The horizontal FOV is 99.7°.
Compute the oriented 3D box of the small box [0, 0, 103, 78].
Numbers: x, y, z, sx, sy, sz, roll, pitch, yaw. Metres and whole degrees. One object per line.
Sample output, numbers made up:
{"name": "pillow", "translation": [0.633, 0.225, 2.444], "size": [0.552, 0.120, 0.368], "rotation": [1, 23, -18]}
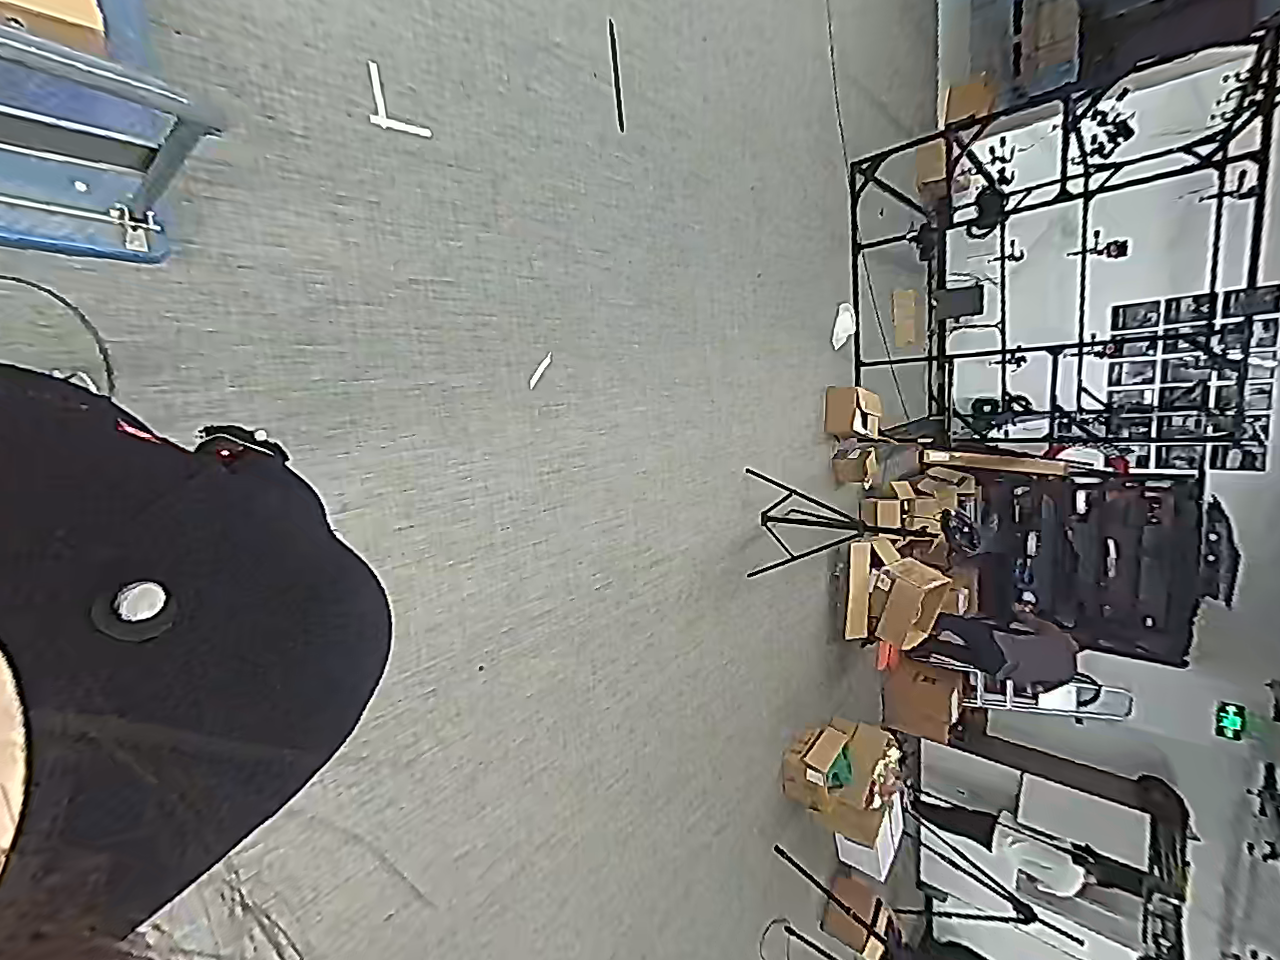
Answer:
{"name": "small box", "translation": [-0.960, -0.756, 0.821], "size": [0.179, 0.176, 0.168], "rotation": [-17, 105, -46]}
